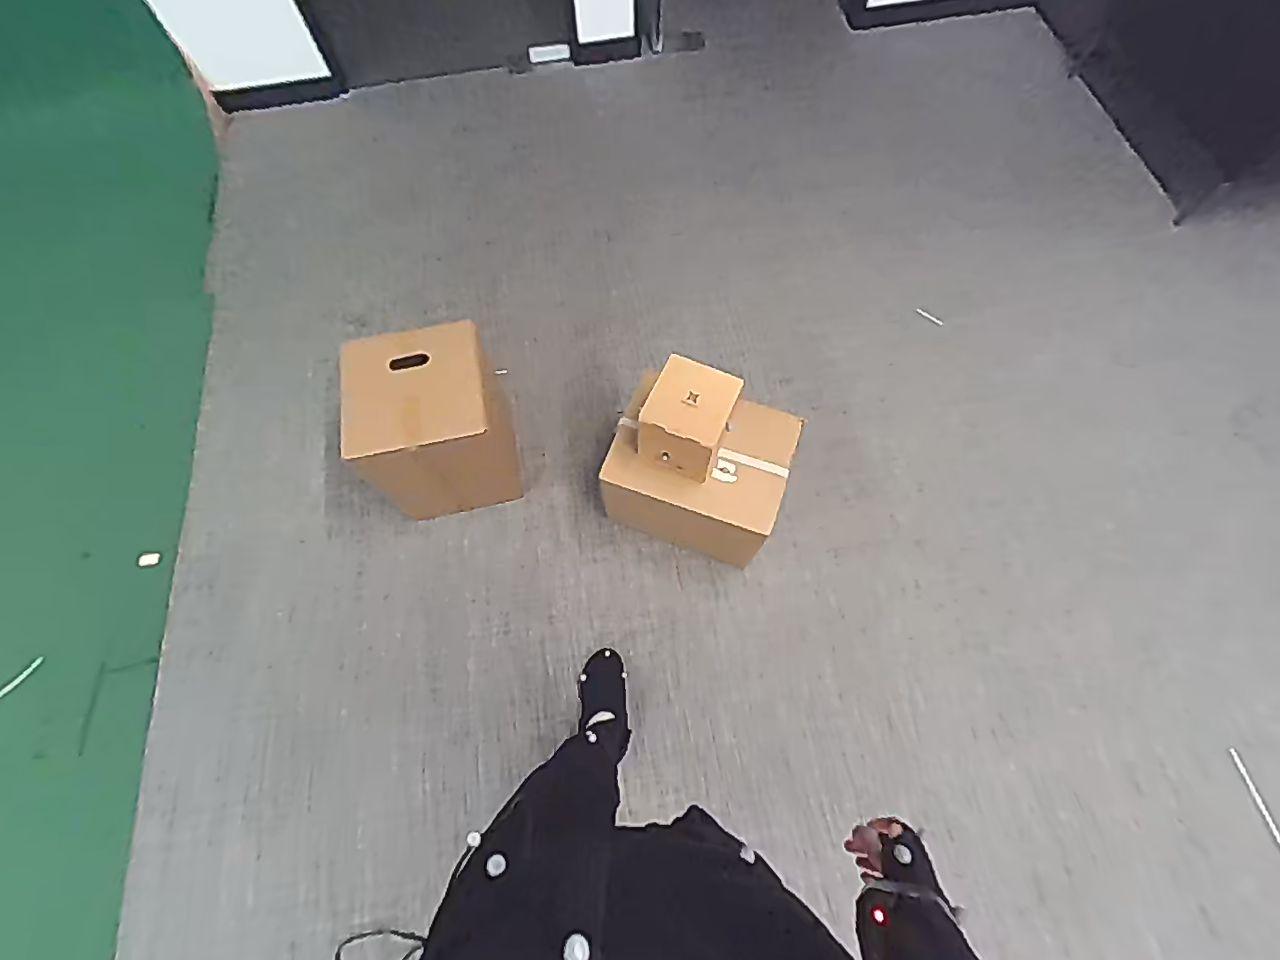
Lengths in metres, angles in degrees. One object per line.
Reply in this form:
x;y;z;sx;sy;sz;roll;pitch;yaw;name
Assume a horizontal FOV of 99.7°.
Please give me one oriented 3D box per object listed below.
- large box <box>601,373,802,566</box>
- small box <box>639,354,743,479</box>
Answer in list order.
0.142;-0.015;1.373;0.408;0.320;0.320;19;69;7;large box
0.102;-0.130;1.158;0.168;0.176;0.179;23;69;9;small box
